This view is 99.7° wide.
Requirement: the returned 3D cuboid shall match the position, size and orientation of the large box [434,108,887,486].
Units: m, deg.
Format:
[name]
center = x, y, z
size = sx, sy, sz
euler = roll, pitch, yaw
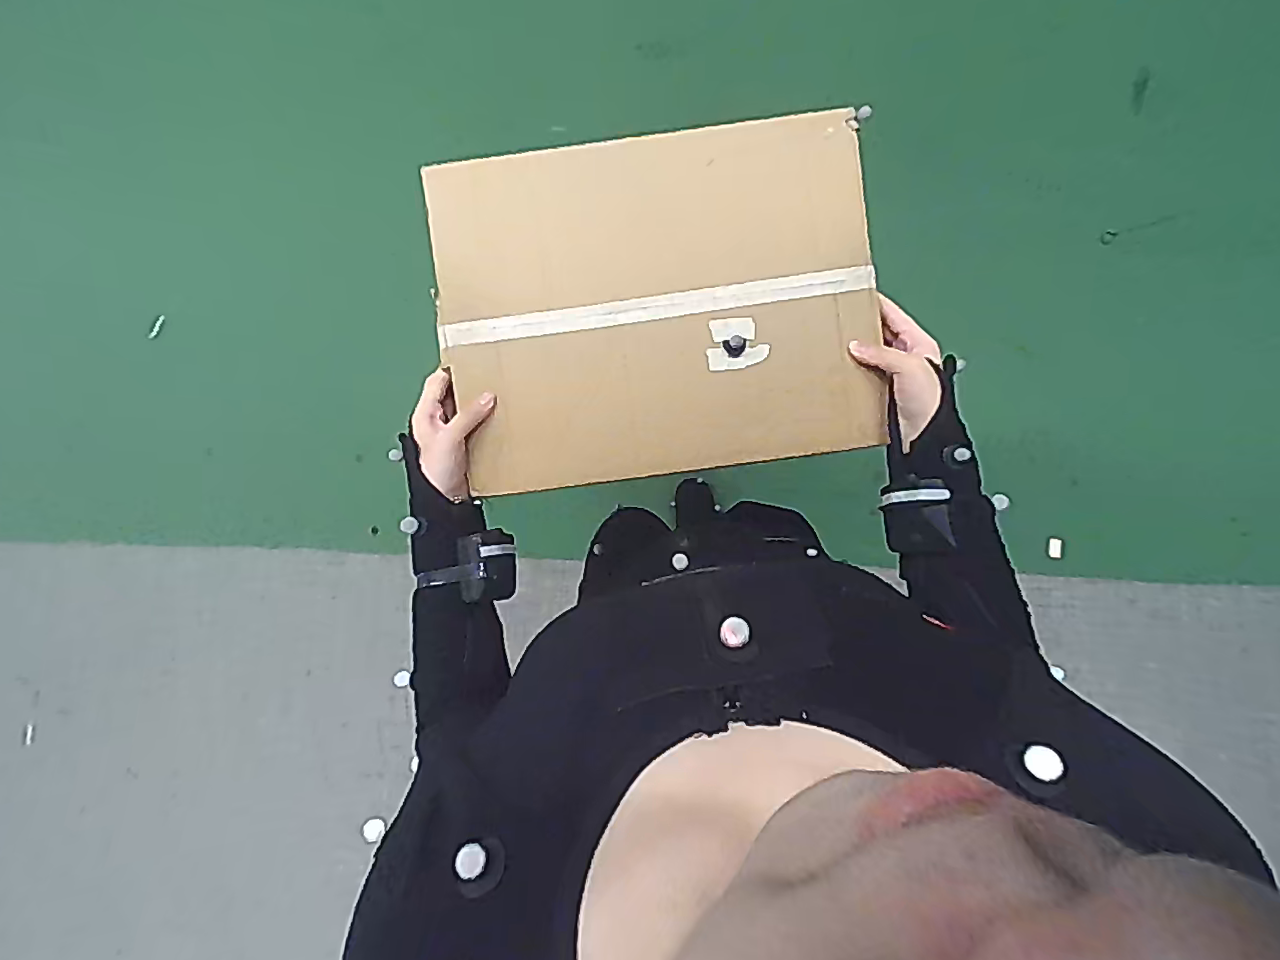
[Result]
[large box]
center = 0.019, -0.177, 0.660
size = 0.408, 0.320, 0.320
euler = -7, 93, 0
